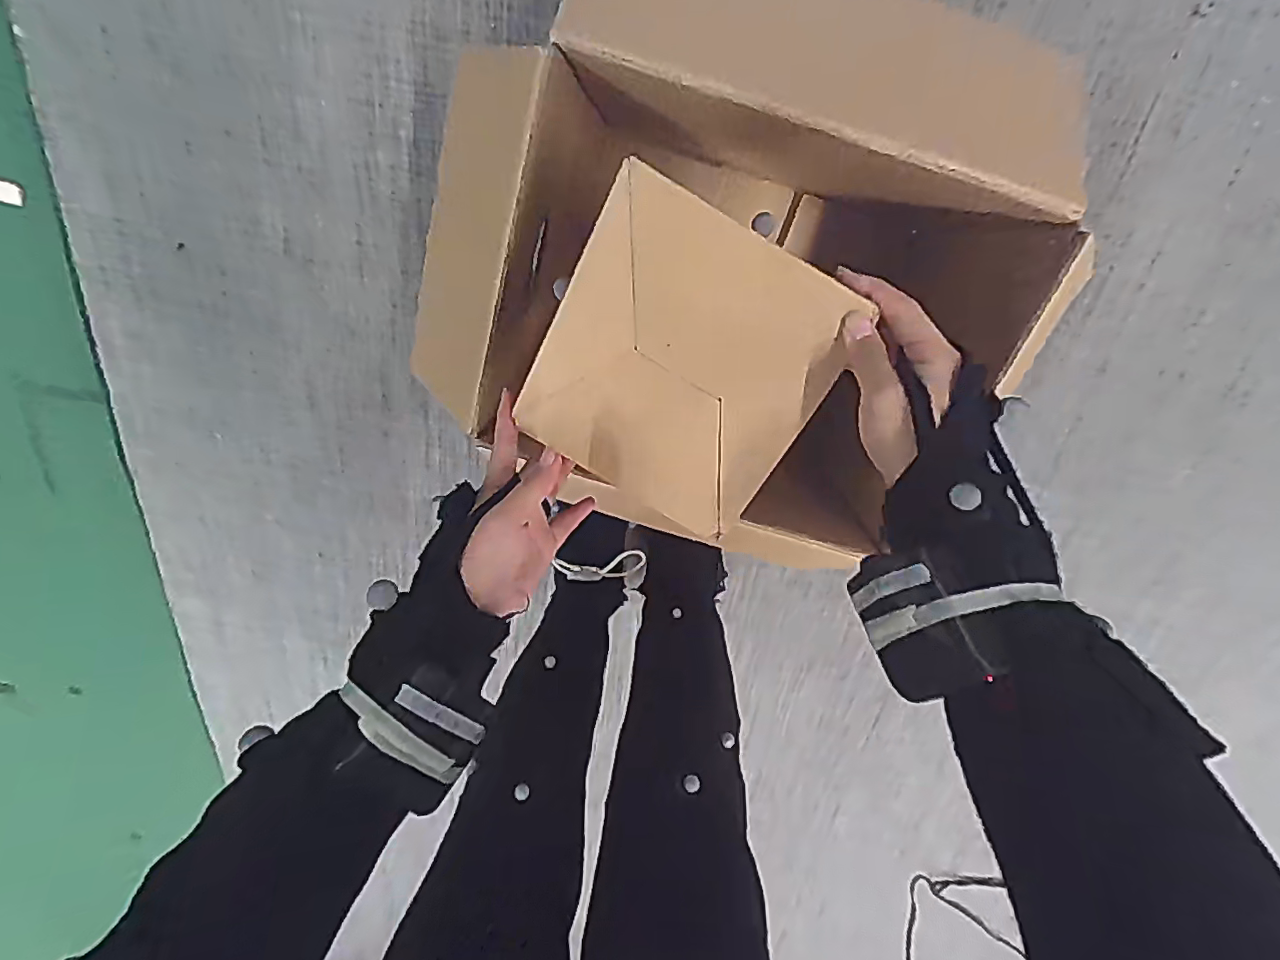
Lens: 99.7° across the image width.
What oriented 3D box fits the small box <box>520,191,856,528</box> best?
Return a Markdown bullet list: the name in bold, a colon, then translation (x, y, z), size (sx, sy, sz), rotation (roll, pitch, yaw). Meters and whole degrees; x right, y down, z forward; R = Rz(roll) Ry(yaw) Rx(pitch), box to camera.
- **small box**: translation (0.036, -0.096, 0.411), size (0.168, 0.176, 0.179), rotation (30, 114, -2)
